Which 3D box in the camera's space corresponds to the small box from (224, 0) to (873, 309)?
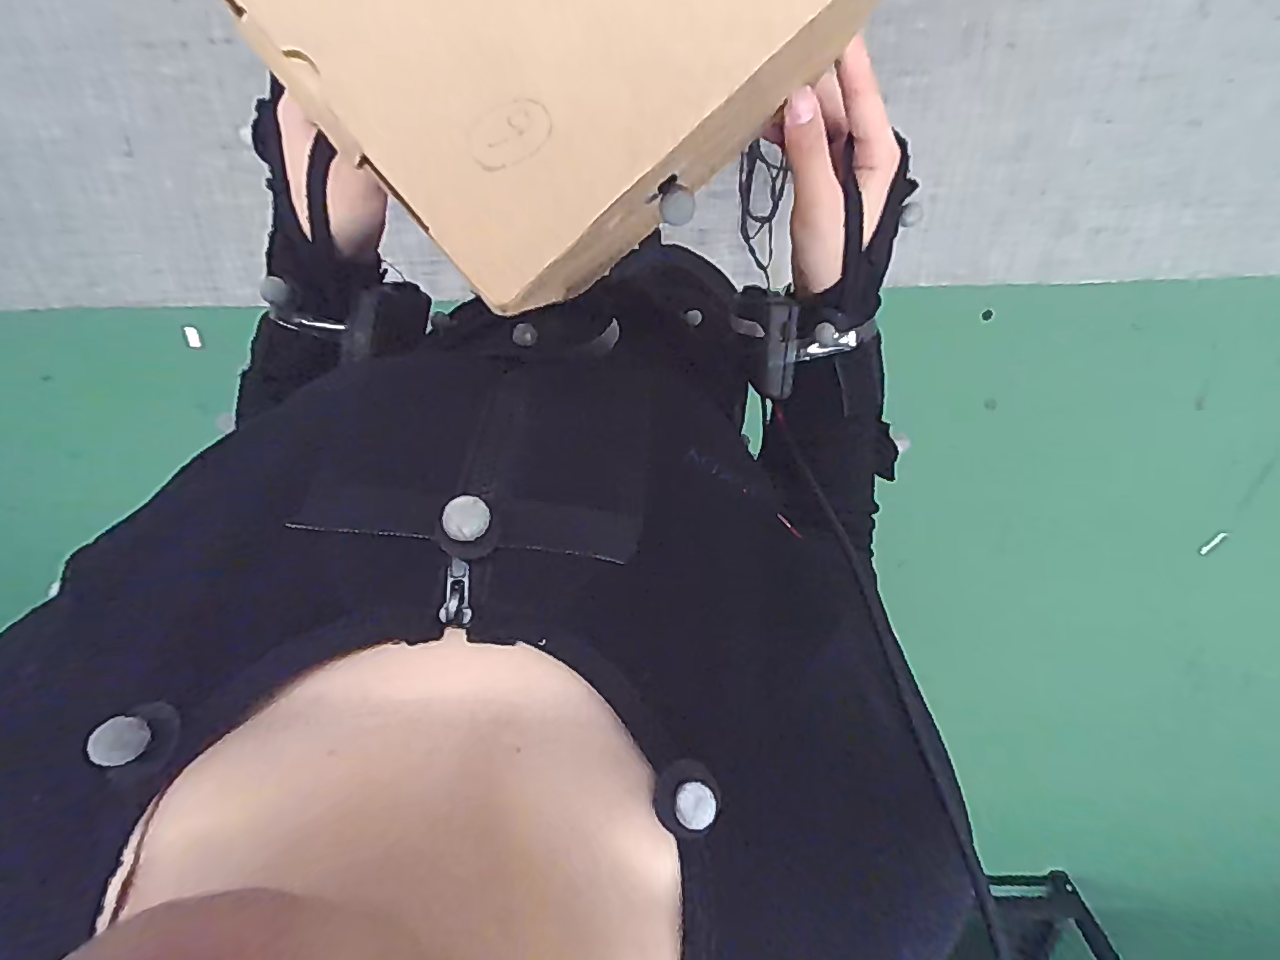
[{"bbox_3d":[-0.026,-0.190,0.214,0.179,0.176,0.168,-37,104,15],"label":"small box"}]
